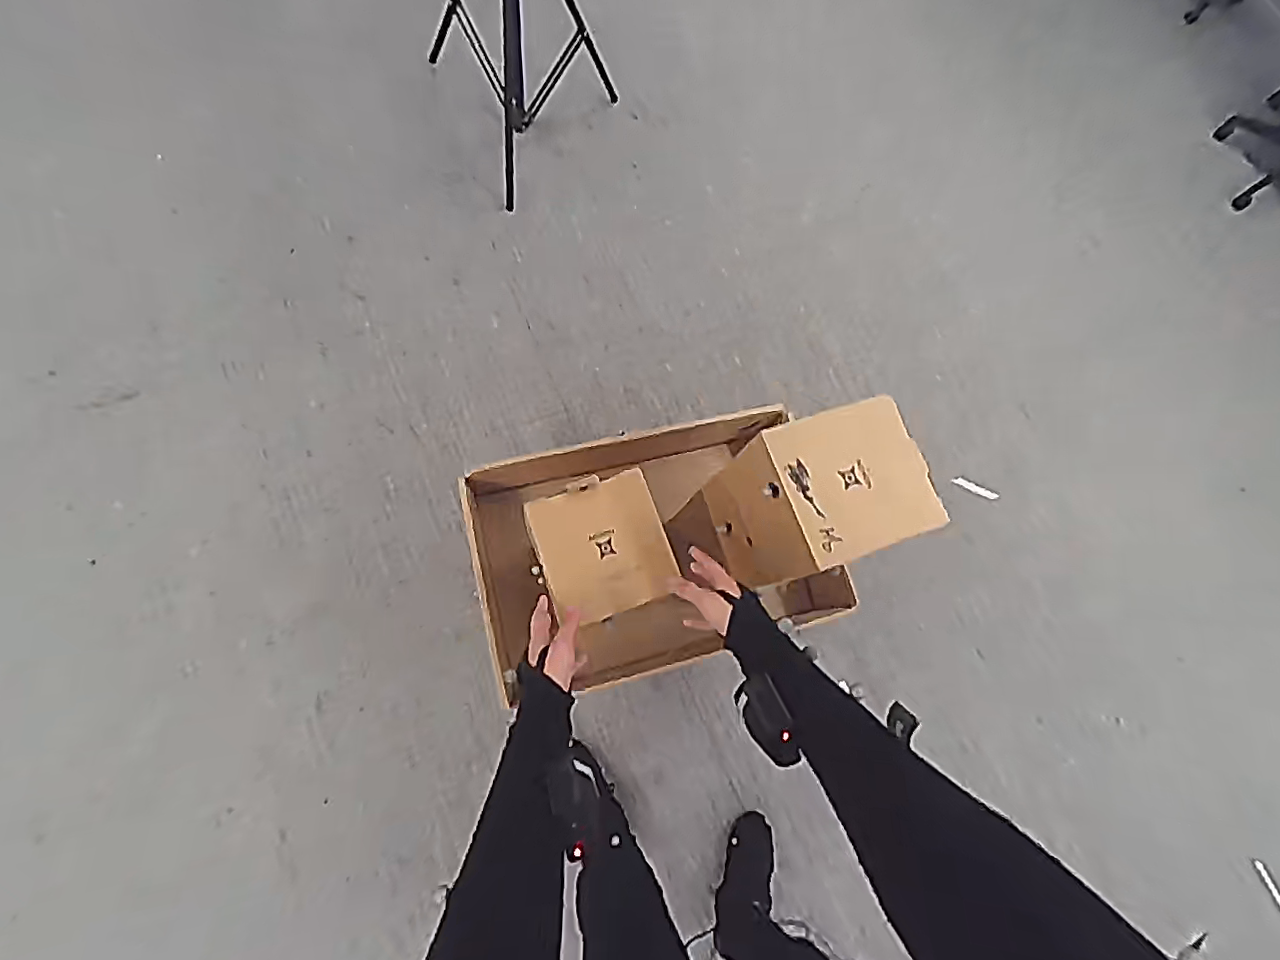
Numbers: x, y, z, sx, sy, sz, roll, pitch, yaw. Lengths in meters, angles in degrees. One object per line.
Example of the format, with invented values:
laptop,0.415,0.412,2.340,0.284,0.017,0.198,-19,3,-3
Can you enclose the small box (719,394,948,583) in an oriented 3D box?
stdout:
small box,0.222,0.018,0.668,0.179,0.176,0.168,-16,76,-14

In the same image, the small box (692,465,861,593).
small box,0.195,0.067,0.822,0.168,0.176,0.179,-15,76,-13

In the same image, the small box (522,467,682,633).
small box,-0.062,0.105,0.766,0.168,0.176,0.179,-18,77,-14
